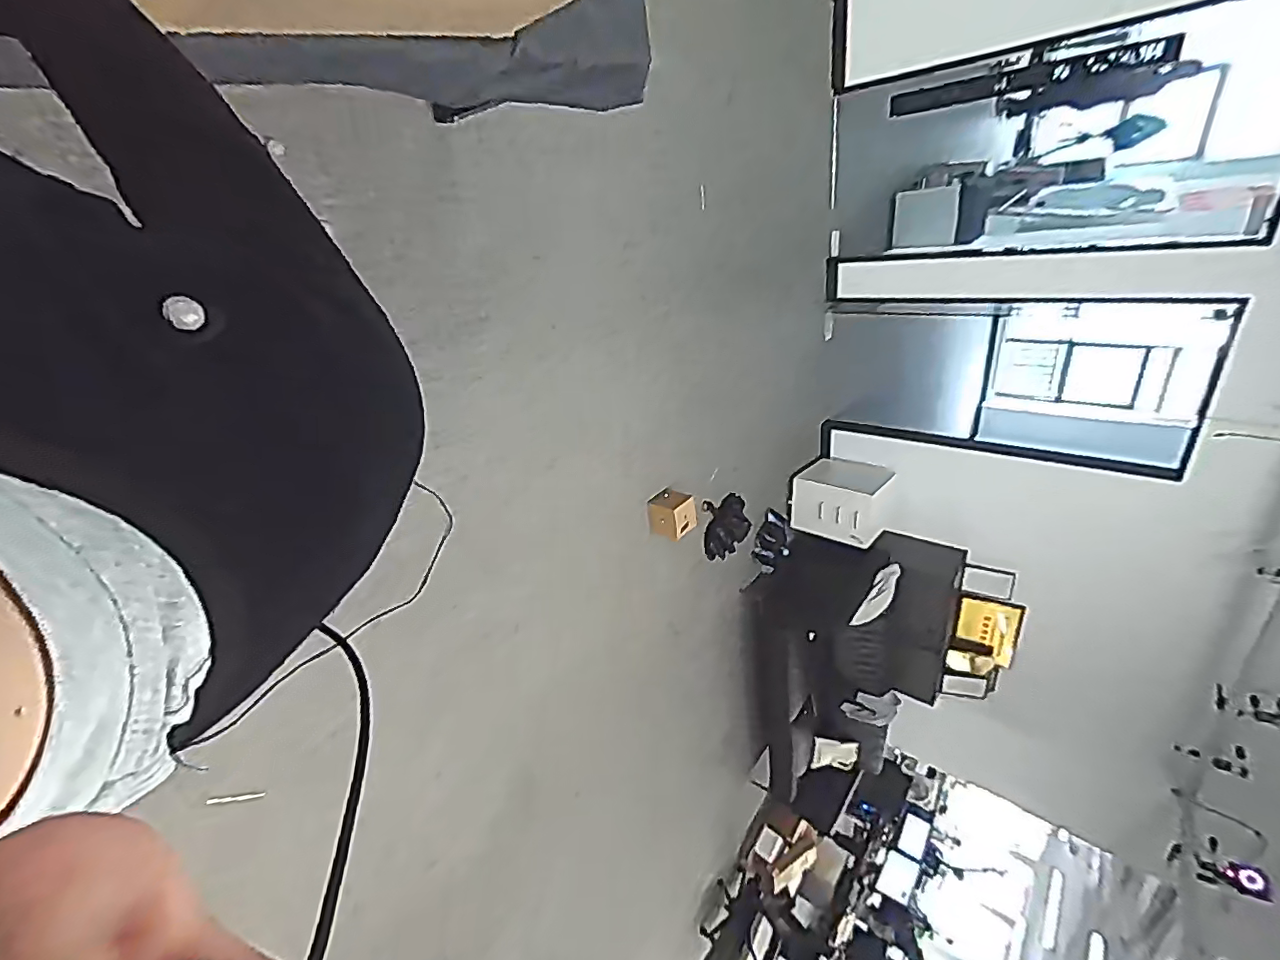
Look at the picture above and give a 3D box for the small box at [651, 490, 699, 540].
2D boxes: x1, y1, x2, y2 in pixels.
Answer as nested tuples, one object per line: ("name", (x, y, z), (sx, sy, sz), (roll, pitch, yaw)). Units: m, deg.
("small box", (0.174, 0.169, 2.699), (0.168, 0.176, 0.179), (-33, 125, -40))
